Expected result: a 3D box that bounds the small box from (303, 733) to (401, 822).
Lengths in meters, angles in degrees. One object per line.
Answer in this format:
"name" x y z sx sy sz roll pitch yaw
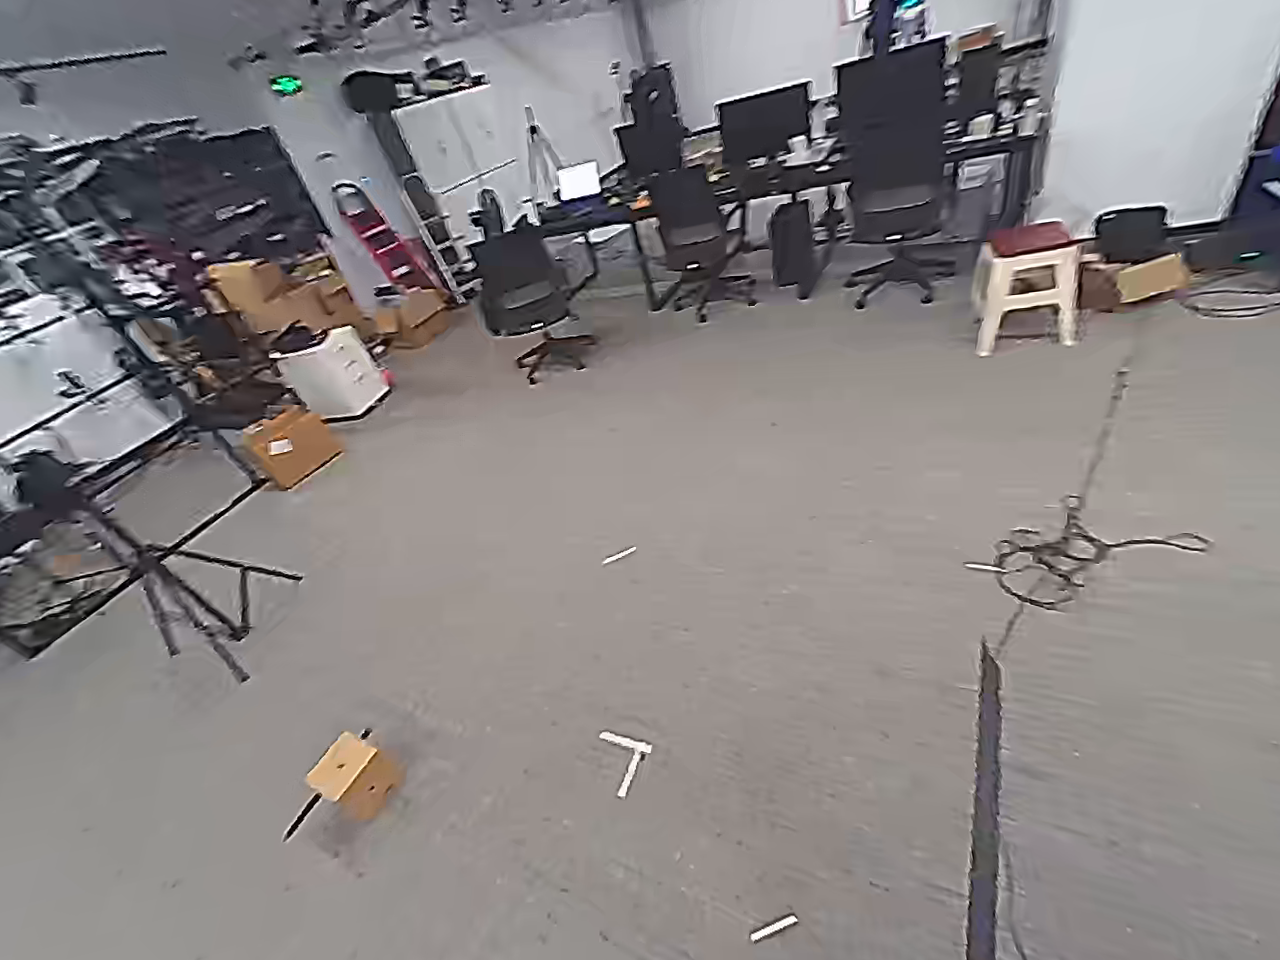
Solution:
"small box" -0.892 0.934 1.690 0.179 0.176 0.168 6 43 32
